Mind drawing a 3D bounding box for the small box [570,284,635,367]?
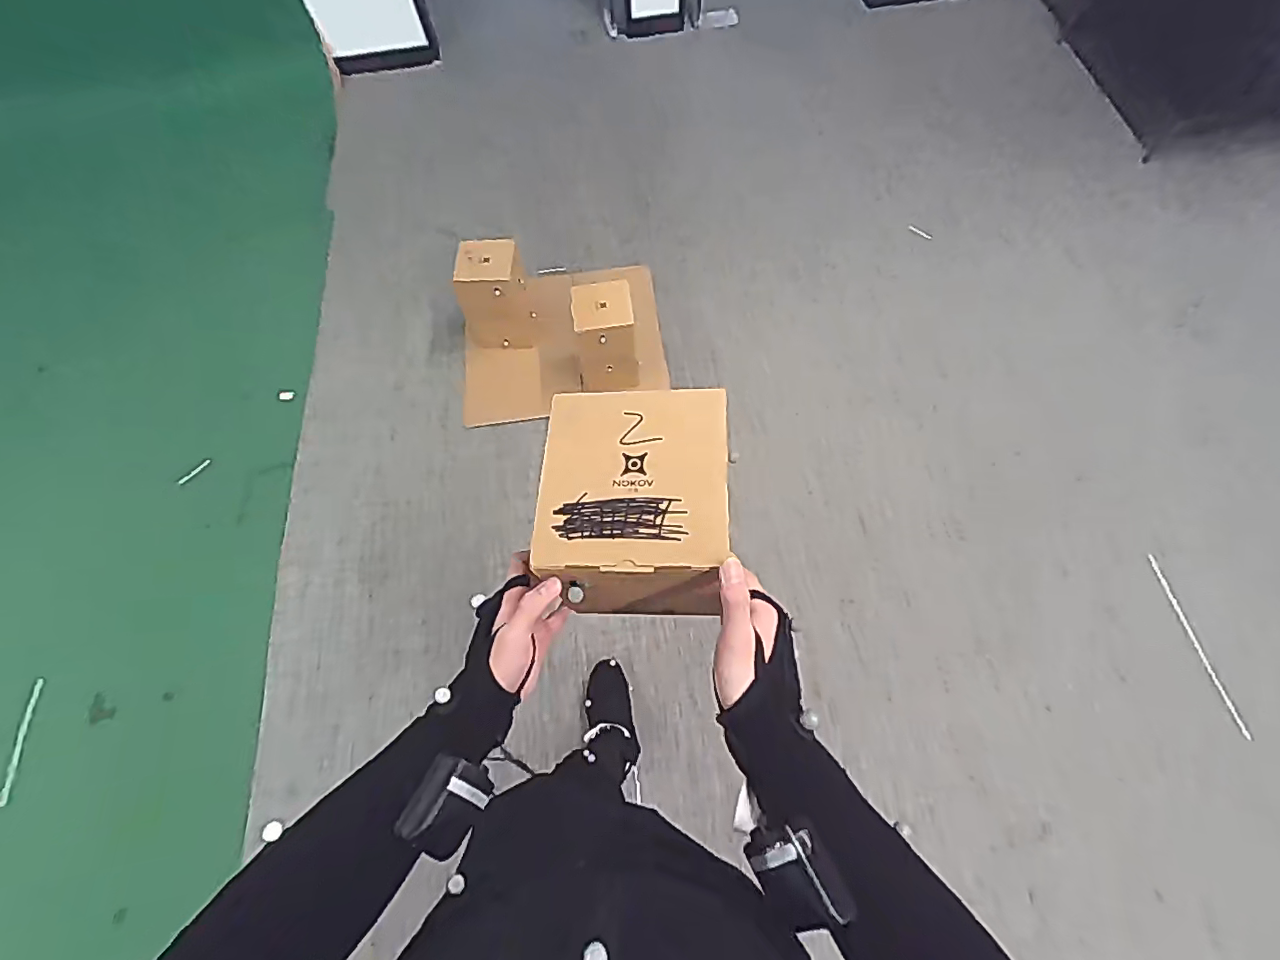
[{"bbox_3d":[-0.108,-0.461,1.629,0.179,0.176,0.168,-8,67,1],"label":"small box"}]

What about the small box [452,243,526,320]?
[{"bbox_3d":[-0.468,-0.623,1.708,0.179,0.176,0.168,0,66,3],"label":"small box"}]

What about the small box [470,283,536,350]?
[{"bbox_3d":[-0.465,-0.562,1.862,0.179,0.176,0.168,1,66,2],"label":"small box"}]

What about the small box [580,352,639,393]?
[{"bbox_3d":[-0.102,-0.403,1.780,0.179,0.176,0.168,-6,66,0],"label":"small box"}]
